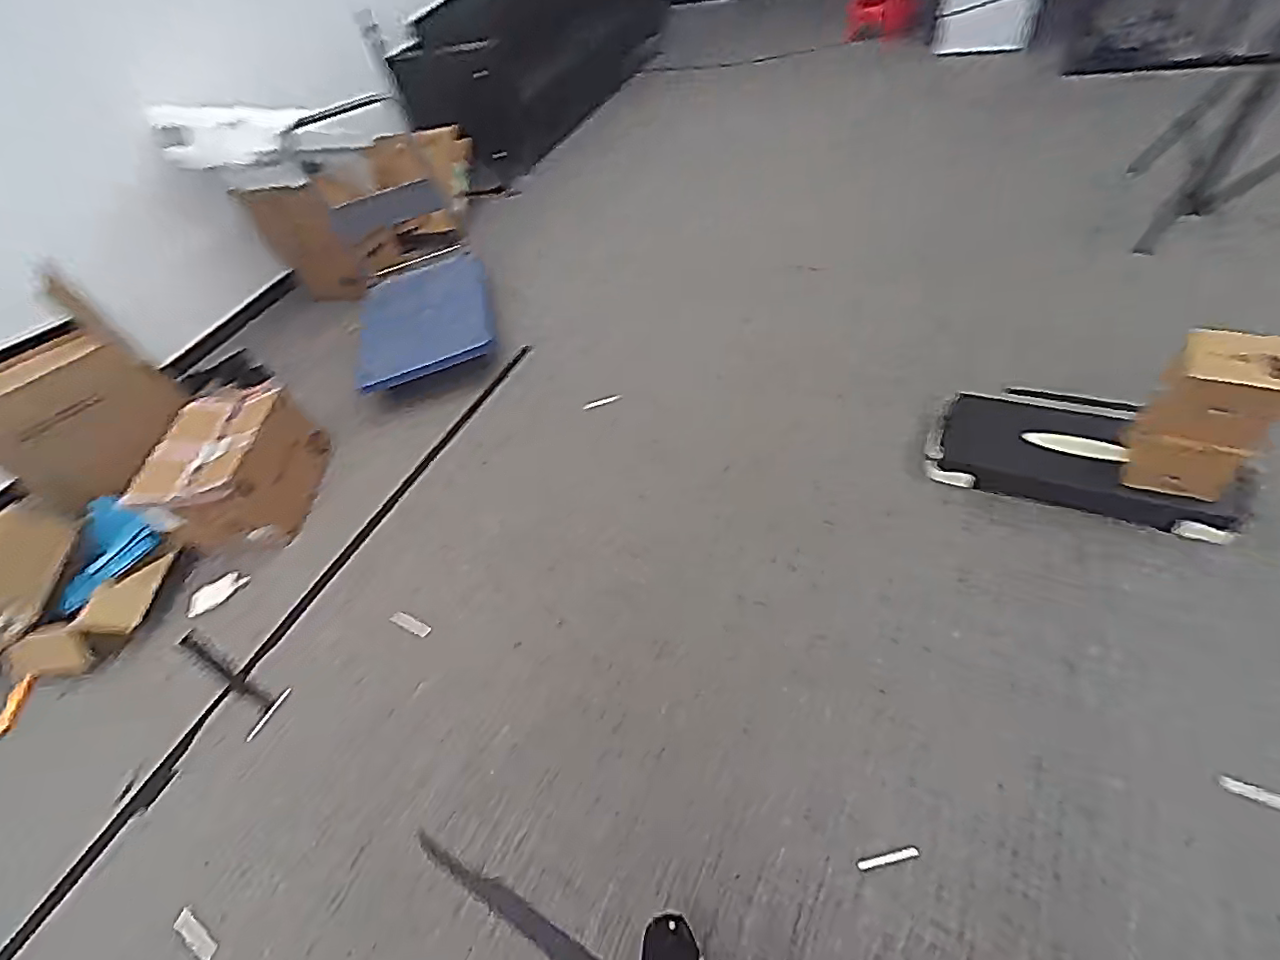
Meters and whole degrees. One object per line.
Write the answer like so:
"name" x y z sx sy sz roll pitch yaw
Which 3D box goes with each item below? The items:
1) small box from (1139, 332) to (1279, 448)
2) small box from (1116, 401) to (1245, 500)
"small box" 1.244 -0.193 1.175 0.179 0.176 0.168 19 60 28
"small box" 1.276 -0.081 1.292 0.168 0.176 0.179 14 58 24
